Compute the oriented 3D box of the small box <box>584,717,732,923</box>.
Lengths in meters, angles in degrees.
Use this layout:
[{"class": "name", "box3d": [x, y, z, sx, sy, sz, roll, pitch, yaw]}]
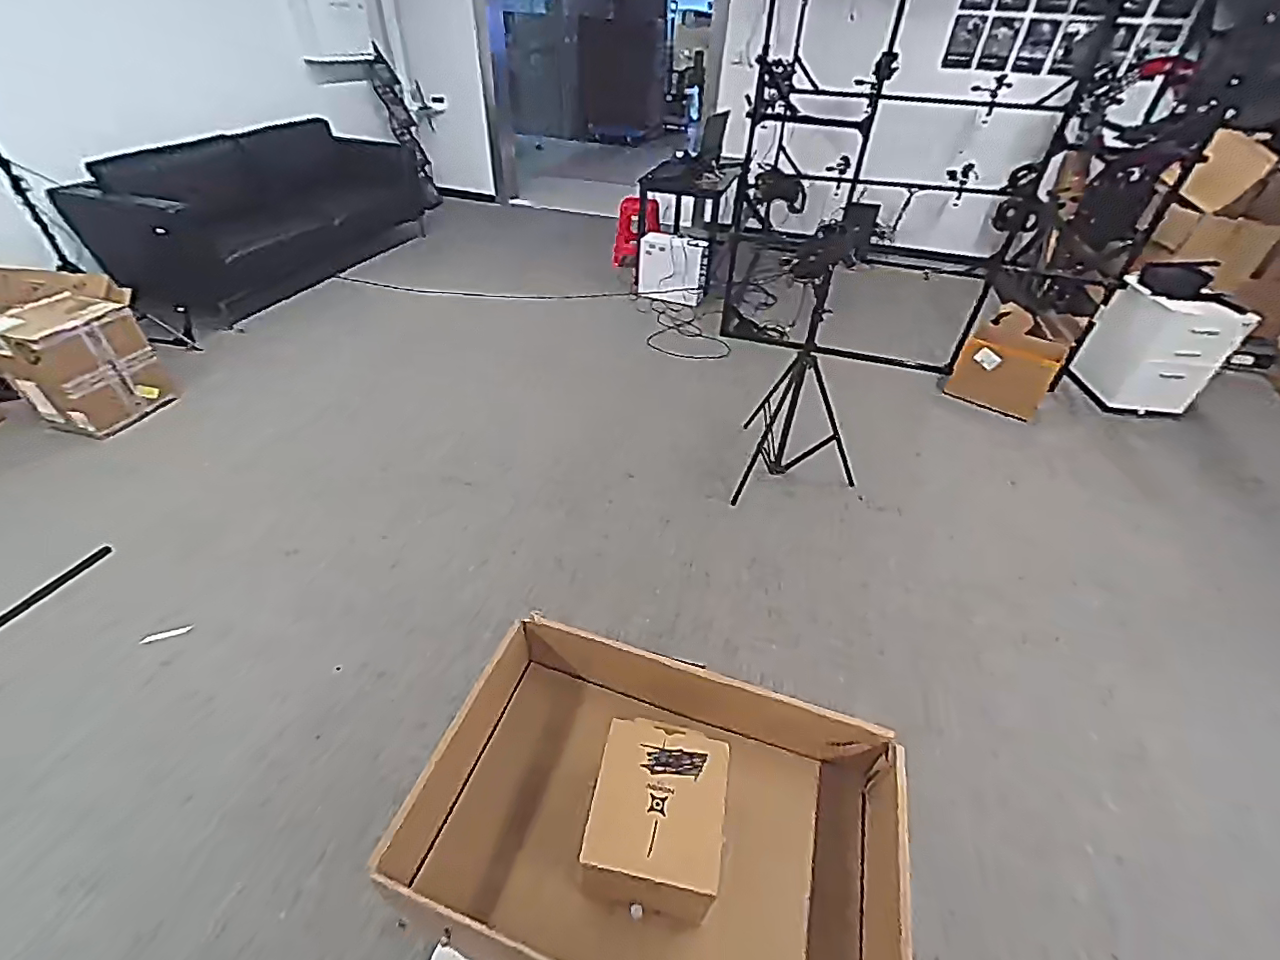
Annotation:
[{"class": "small box", "box3d": [0.024, 0.459, 0.733, 0.168, 0.176, 0.179, 9, 42, 7]}]
